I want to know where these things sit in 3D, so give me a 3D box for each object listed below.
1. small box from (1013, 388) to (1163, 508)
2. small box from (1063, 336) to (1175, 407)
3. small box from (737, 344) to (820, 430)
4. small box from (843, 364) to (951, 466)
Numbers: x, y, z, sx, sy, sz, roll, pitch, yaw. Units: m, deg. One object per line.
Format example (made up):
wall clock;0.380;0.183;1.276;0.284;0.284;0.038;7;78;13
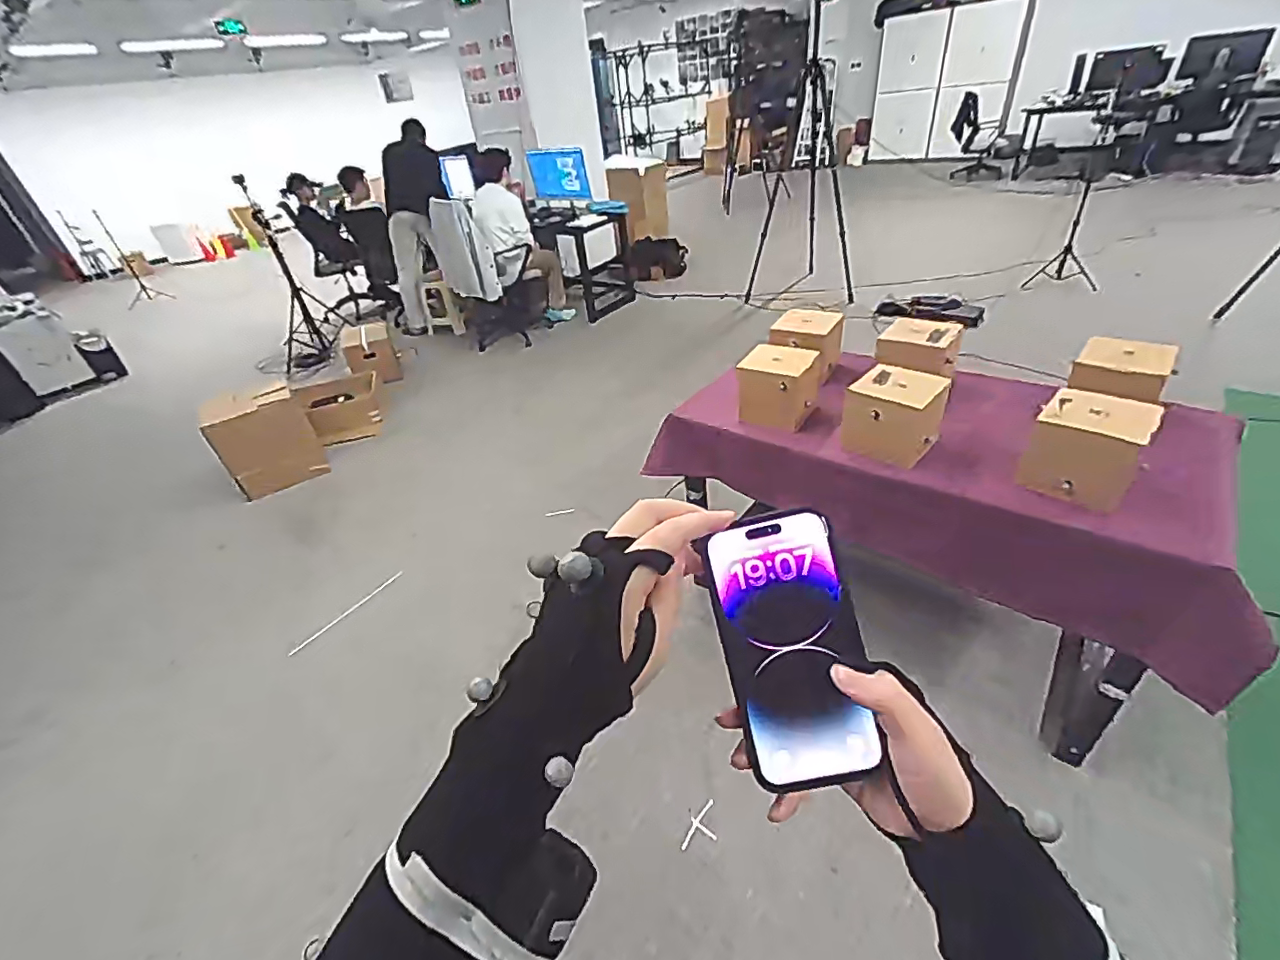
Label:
small box;0.918;-0.065;1.119;0.168;0.176;0.179;-34;43;-31
small box;1.126;-0.223;1.293;0.168;0.176;0.179;24;47;37
small box;0.378;-0.257;1.491;0.179;0.176;0.168;17;43;29
small box;0.611;-0.157;1.306;0.179;0.176;0.168;27;49;38
